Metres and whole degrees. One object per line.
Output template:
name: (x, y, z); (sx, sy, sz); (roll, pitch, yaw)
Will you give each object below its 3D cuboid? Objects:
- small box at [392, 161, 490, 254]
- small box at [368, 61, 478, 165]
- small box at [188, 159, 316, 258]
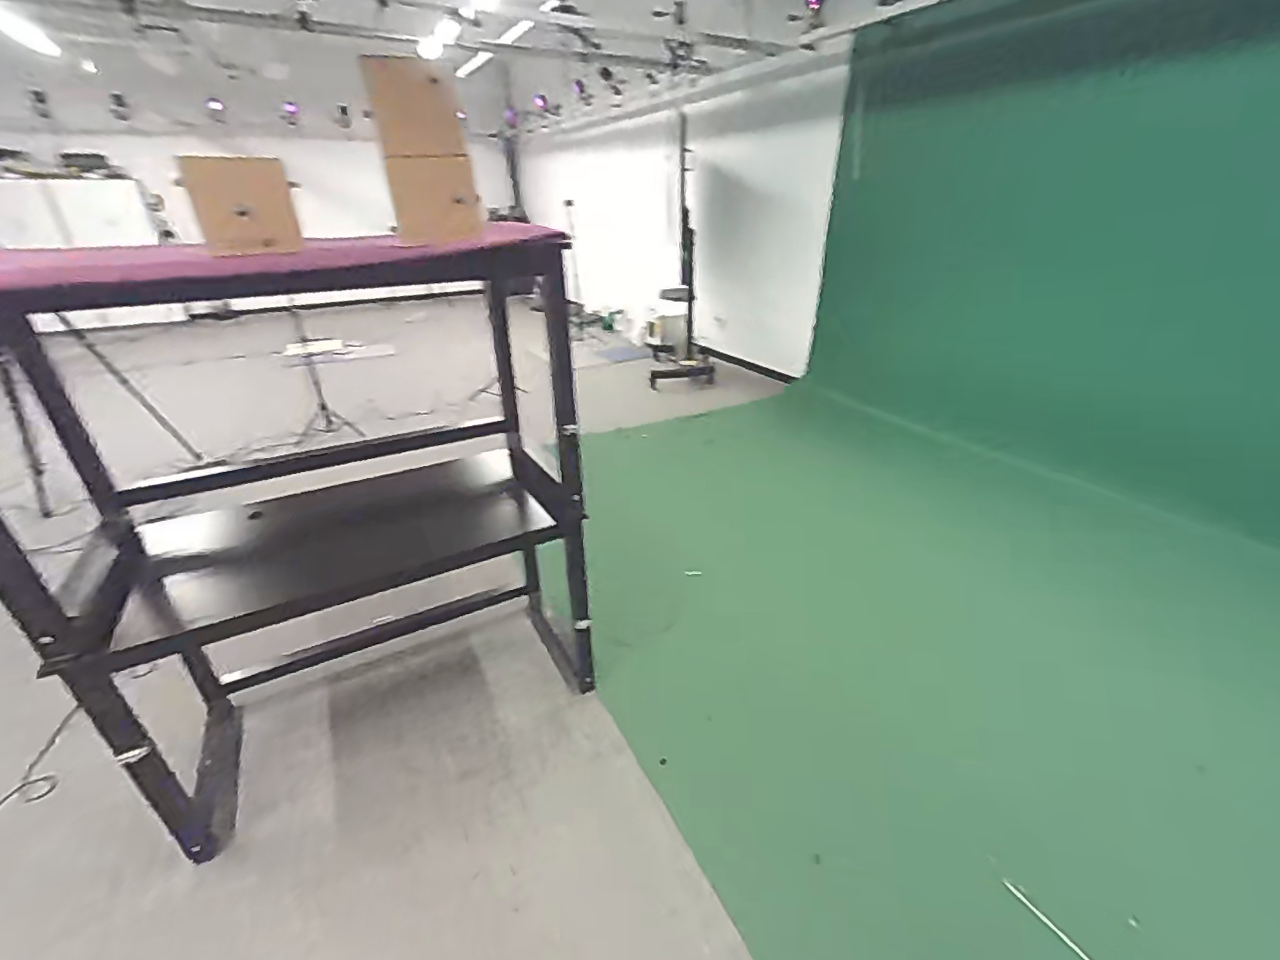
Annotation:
small box: (-0.438, -0.602, 1.201); (0.179, 0.176, 0.168); (-14, 27, -20)
small box: (-0.451, -0.751, 1.136); (0.179, 0.176, 0.168); (-11, 26, -18)
small box: (-0.762, -0.539, 1.084); (0.168, 0.176, 0.179); (-13, 29, -25)
